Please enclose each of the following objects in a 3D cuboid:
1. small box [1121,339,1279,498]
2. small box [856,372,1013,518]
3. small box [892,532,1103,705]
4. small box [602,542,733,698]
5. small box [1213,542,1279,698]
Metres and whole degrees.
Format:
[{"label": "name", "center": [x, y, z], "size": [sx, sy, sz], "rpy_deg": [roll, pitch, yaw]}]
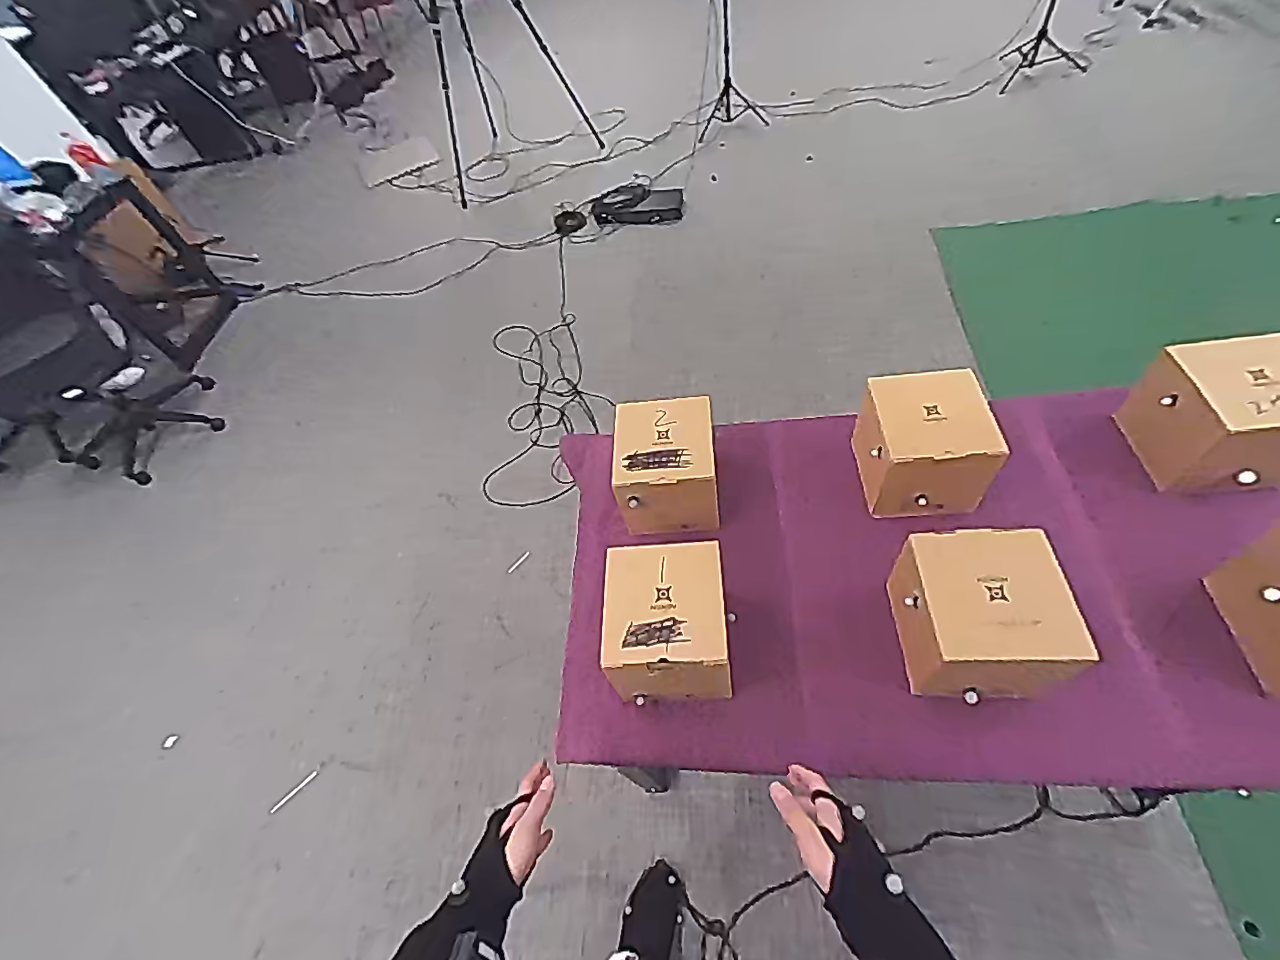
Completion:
[{"label": "small box", "center": [0.908, -0.091, 0.838], "size": [0.168, 0.176, 0.179], "rpy_deg": [-5, 55, 11]}, {"label": "small box", "center": [0.472, -0.054, 0.902], "size": [0.168, 0.176, 0.179], "rpy_deg": [-4, 55, 8]}, {"label": "small box", "center": [0.456, 0.188, 0.729], "size": [0.168, 0.176, 0.179], "rpy_deg": [-3, 54, 10]}, {"label": "small box", "center": [0.047, 0.211, 0.787], "size": [0.168, 0.176, 0.179], "rpy_deg": [-4, 52, 7]}, {"label": "small box", "center": [0.879, 0.169, 0.658], "size": [0.168, 0.176, 0.179], "rpy_deg": [-2, 52, 12]}]
